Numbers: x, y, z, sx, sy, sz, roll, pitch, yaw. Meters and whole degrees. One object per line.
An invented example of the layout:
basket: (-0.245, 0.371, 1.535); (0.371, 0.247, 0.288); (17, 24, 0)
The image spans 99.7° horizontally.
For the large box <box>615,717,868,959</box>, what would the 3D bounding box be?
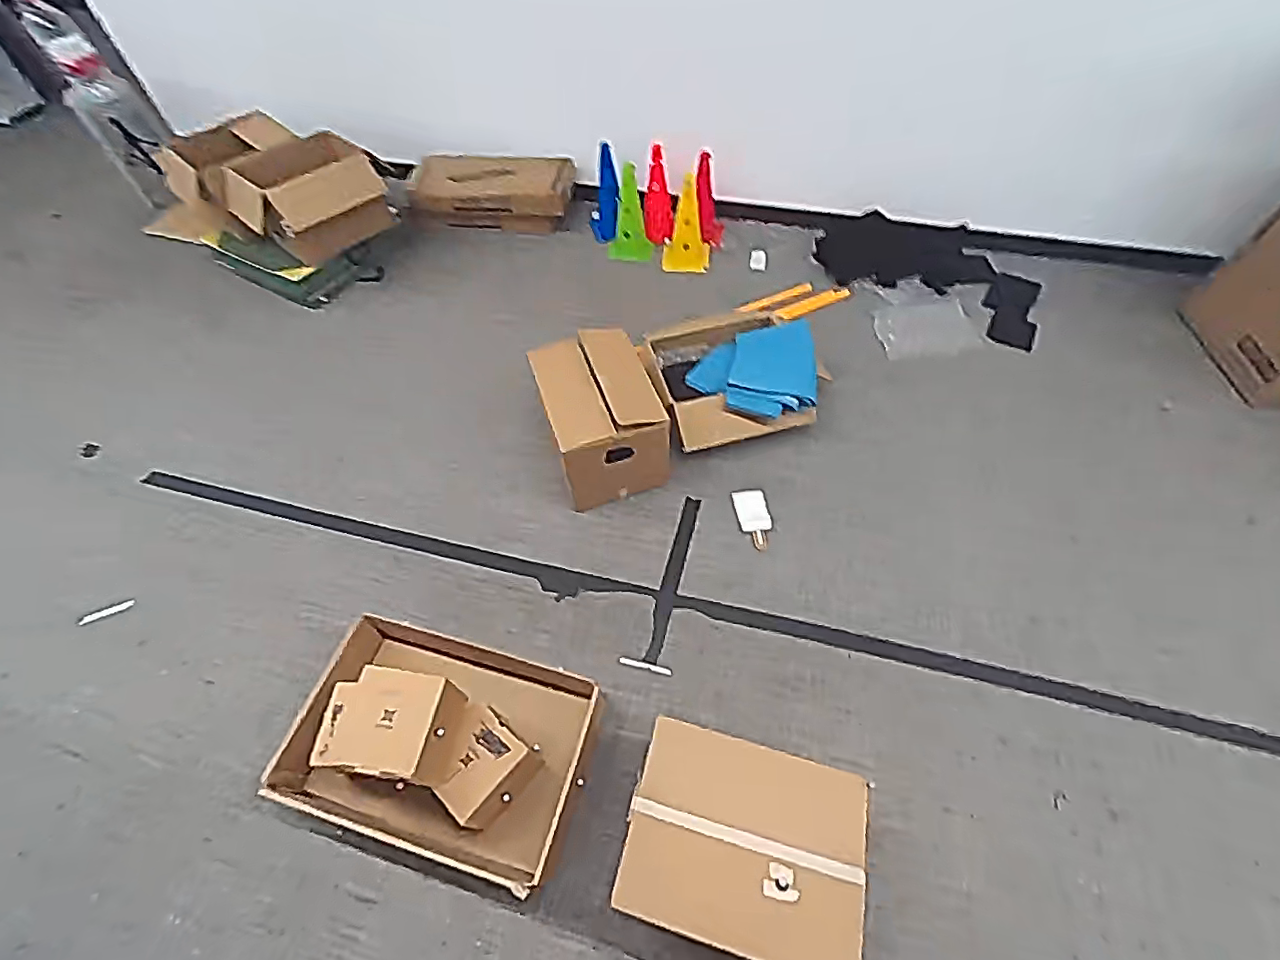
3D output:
large box: (0.186, 0.704, 1.059); (0.408, 0.320, 0.320); (13, 58, 9)

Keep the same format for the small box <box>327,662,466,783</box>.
small box: (-0.460, 0.478, 1.056); (0.168, 0.176, 0.179); (7, 55, 5)
